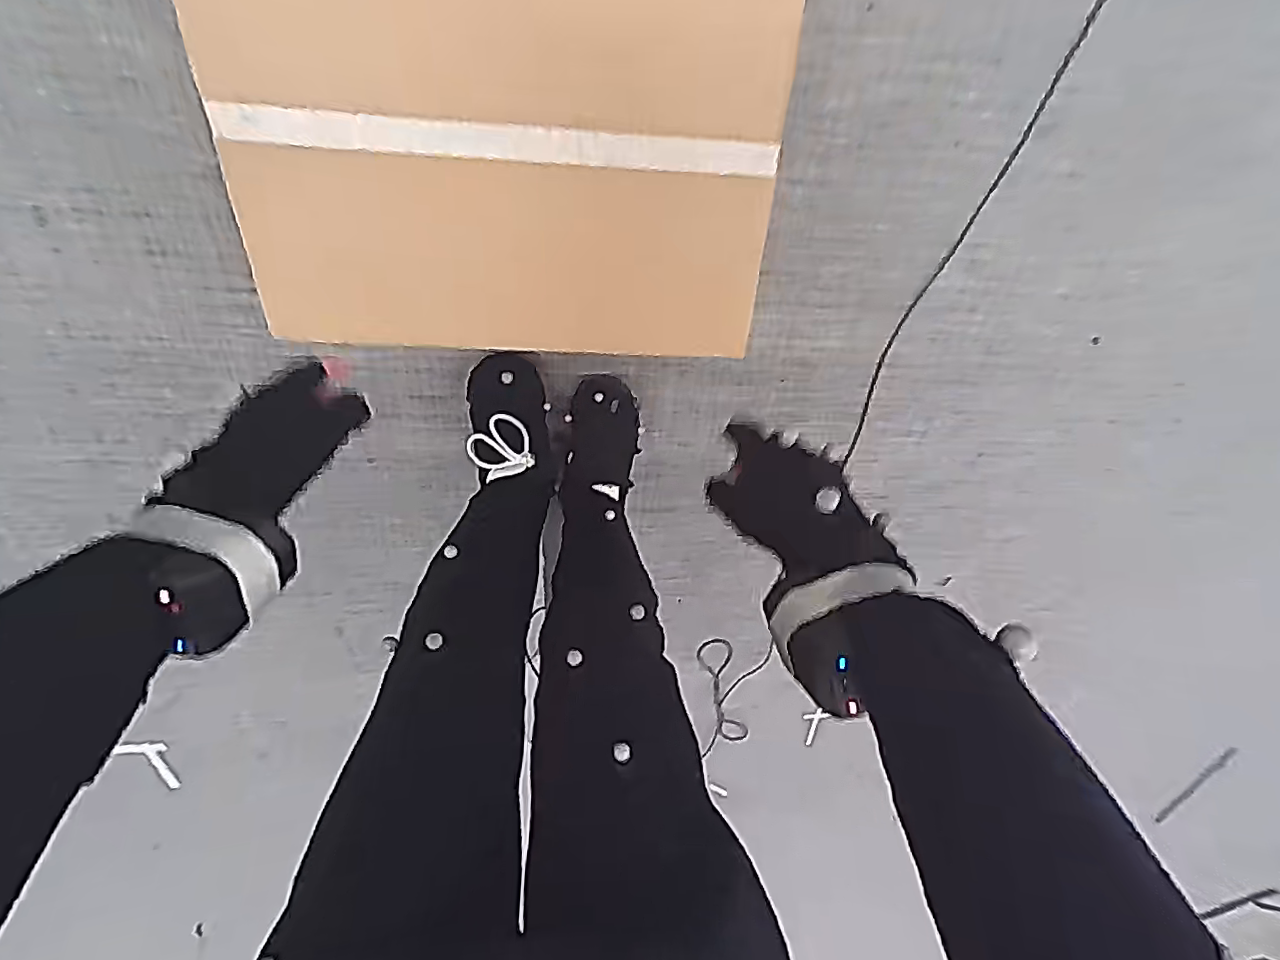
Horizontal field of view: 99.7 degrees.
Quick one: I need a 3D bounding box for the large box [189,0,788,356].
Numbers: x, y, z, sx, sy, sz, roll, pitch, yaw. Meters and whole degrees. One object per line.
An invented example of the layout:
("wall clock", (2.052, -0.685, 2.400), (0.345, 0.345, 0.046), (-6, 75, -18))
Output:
("large box", (-0.110, -0.325, 0.532), (0.408, 0.320, 0.320), (1, 120, -6))
